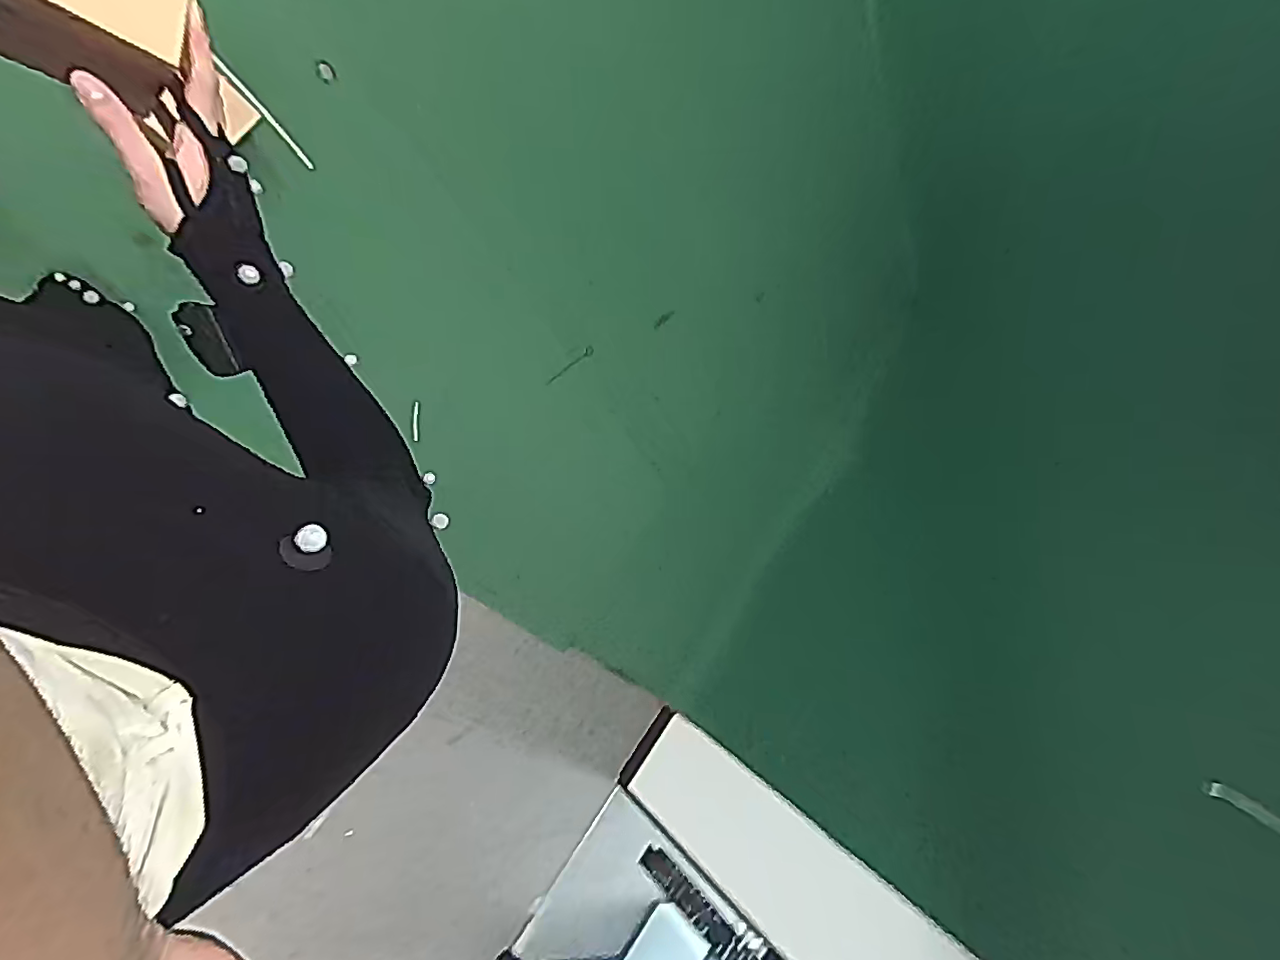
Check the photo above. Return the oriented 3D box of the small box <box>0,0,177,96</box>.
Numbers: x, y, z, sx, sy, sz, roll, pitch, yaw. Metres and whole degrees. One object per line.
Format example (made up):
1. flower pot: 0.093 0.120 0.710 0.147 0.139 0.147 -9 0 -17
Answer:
1. small box: -0.420 -0.389 0.350 0.179 0.176 0.168 7 97 -47

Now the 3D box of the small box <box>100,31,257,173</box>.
1. small box: -0.908 -0.736 1.067 0.168 0.176 0.179 -55 135 -11
